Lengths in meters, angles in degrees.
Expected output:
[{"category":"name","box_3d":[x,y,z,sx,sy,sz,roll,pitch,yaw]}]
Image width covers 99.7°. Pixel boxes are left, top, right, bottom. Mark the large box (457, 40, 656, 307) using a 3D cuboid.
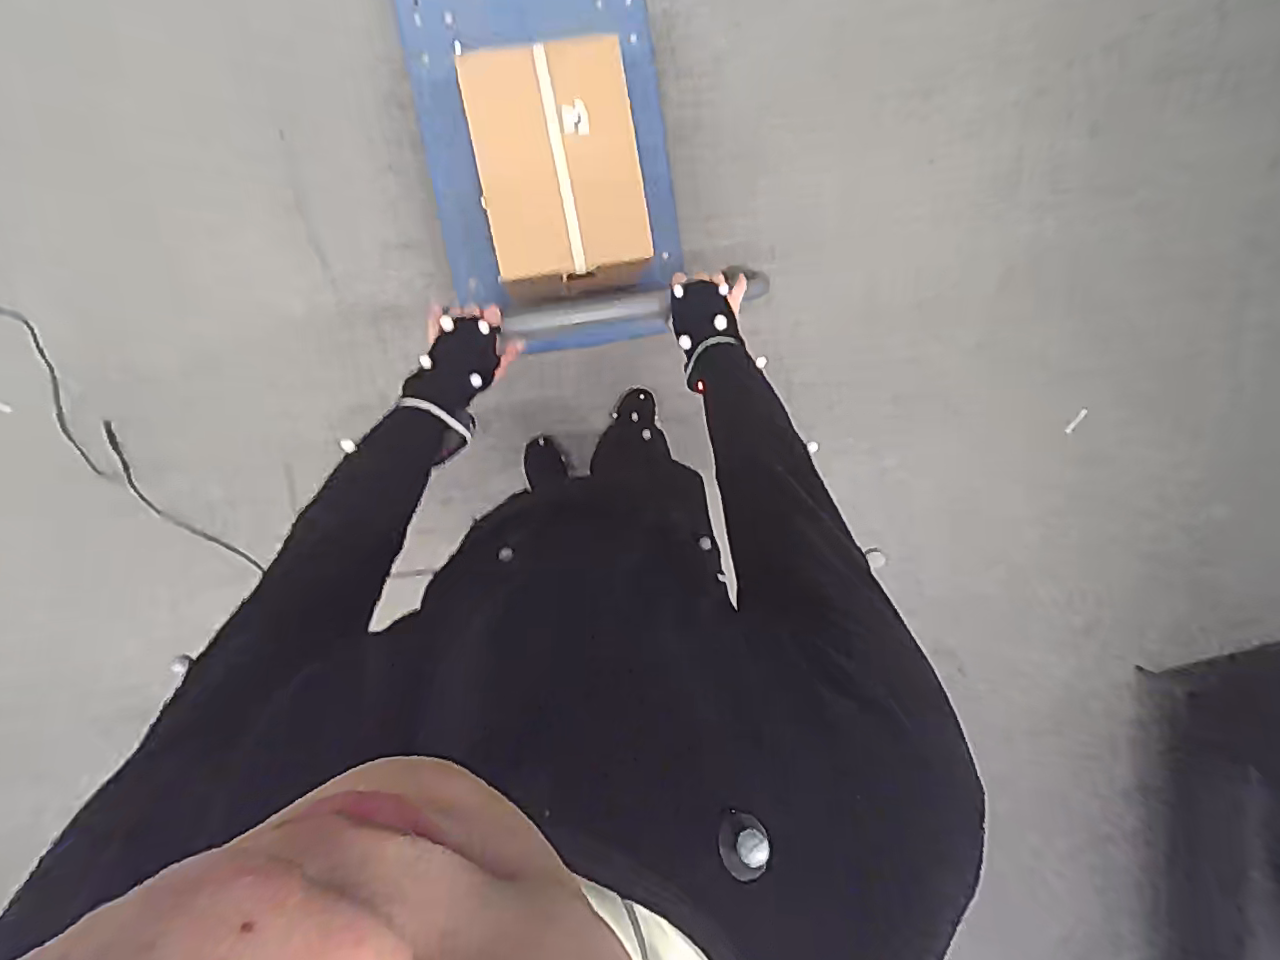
[{"category":"large box","box_3d":[-0.171,-0.634,1.192,0.320,0.320,0.408,-12,100,-6]}]
